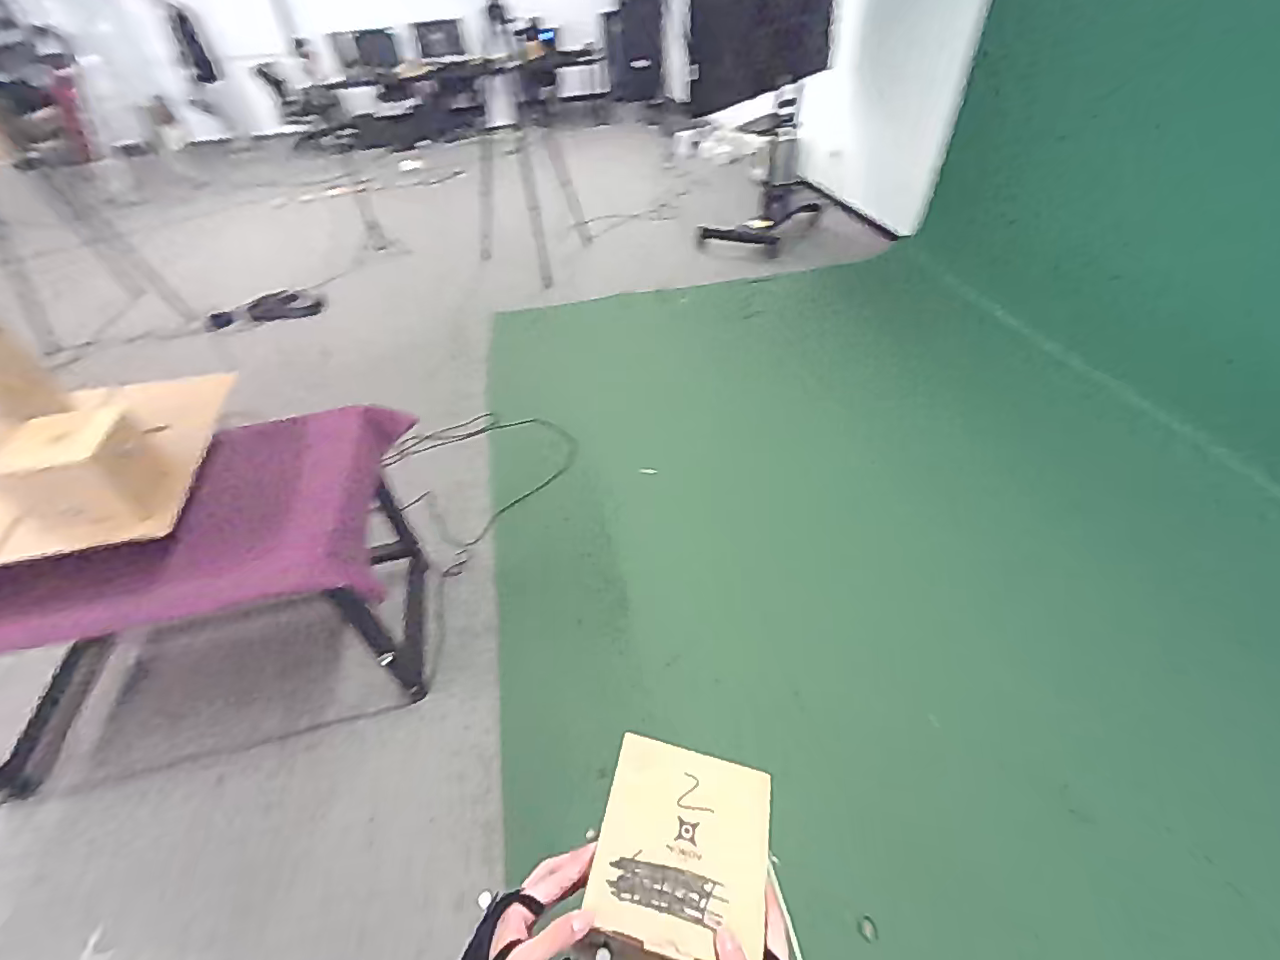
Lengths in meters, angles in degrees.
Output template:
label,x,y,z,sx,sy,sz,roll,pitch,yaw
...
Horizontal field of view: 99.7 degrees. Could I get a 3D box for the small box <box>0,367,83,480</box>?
label,x,y,z,sx,sy,sz,roll,pitch,yaw
small box,-1.333,-0.115,1.156,0.168,0.176,0.179,-10,44,-12

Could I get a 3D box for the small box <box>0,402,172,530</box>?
label,x,y,z,sx,sy,sz,roll,pitch,yaw
small box,-1.082,-0.029,1.069,0.168,0.176,0.179,-11,46,-11
